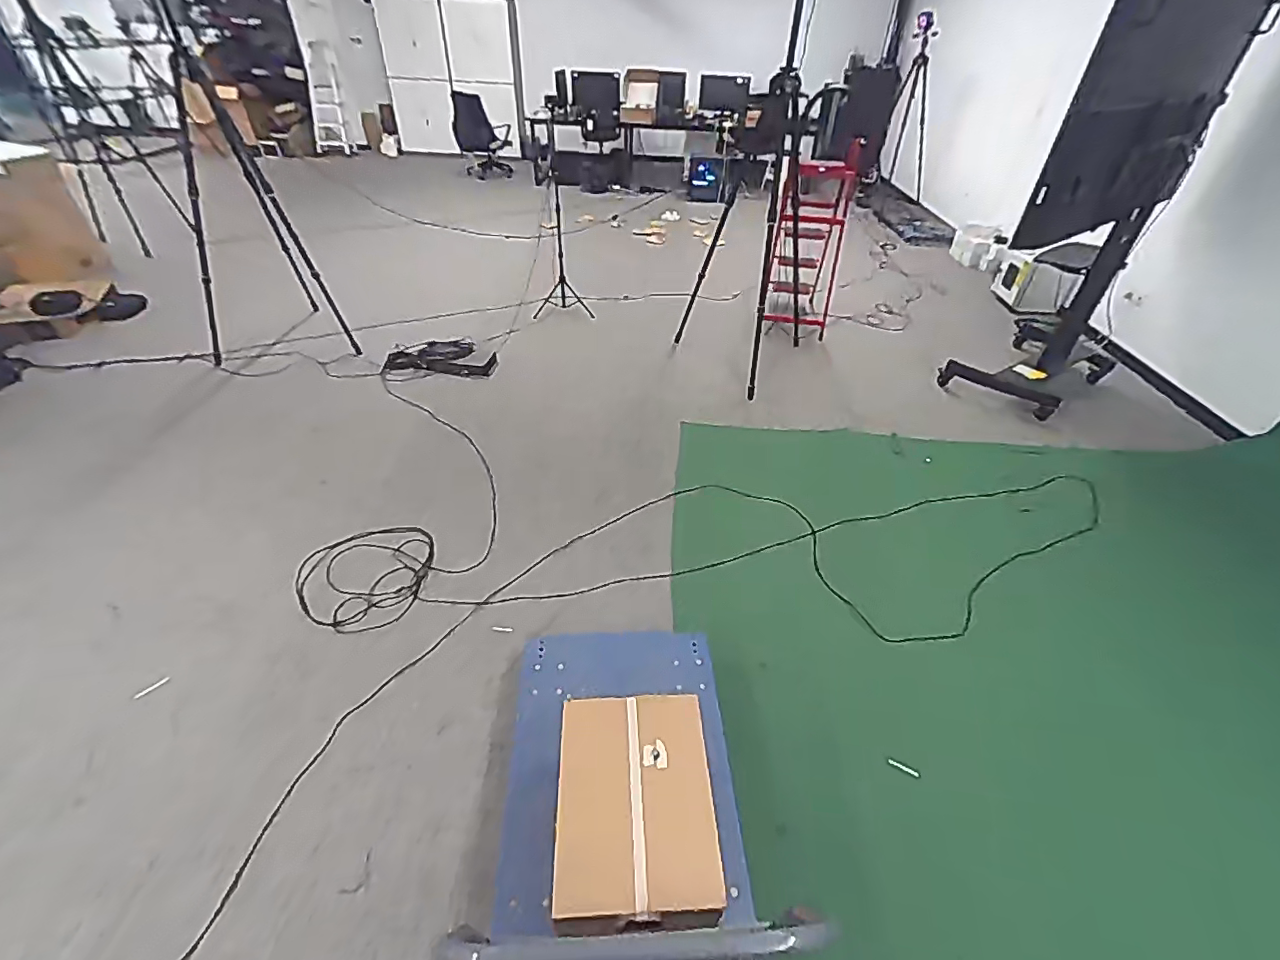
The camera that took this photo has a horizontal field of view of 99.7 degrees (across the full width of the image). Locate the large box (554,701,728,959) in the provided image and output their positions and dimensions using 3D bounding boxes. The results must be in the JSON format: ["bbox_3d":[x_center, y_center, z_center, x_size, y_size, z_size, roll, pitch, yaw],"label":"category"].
[{"bbox_3d":[-0.013,0.759,1.187,0.320,0.320,0.408,0,38,-4],"label":"large box"}]
